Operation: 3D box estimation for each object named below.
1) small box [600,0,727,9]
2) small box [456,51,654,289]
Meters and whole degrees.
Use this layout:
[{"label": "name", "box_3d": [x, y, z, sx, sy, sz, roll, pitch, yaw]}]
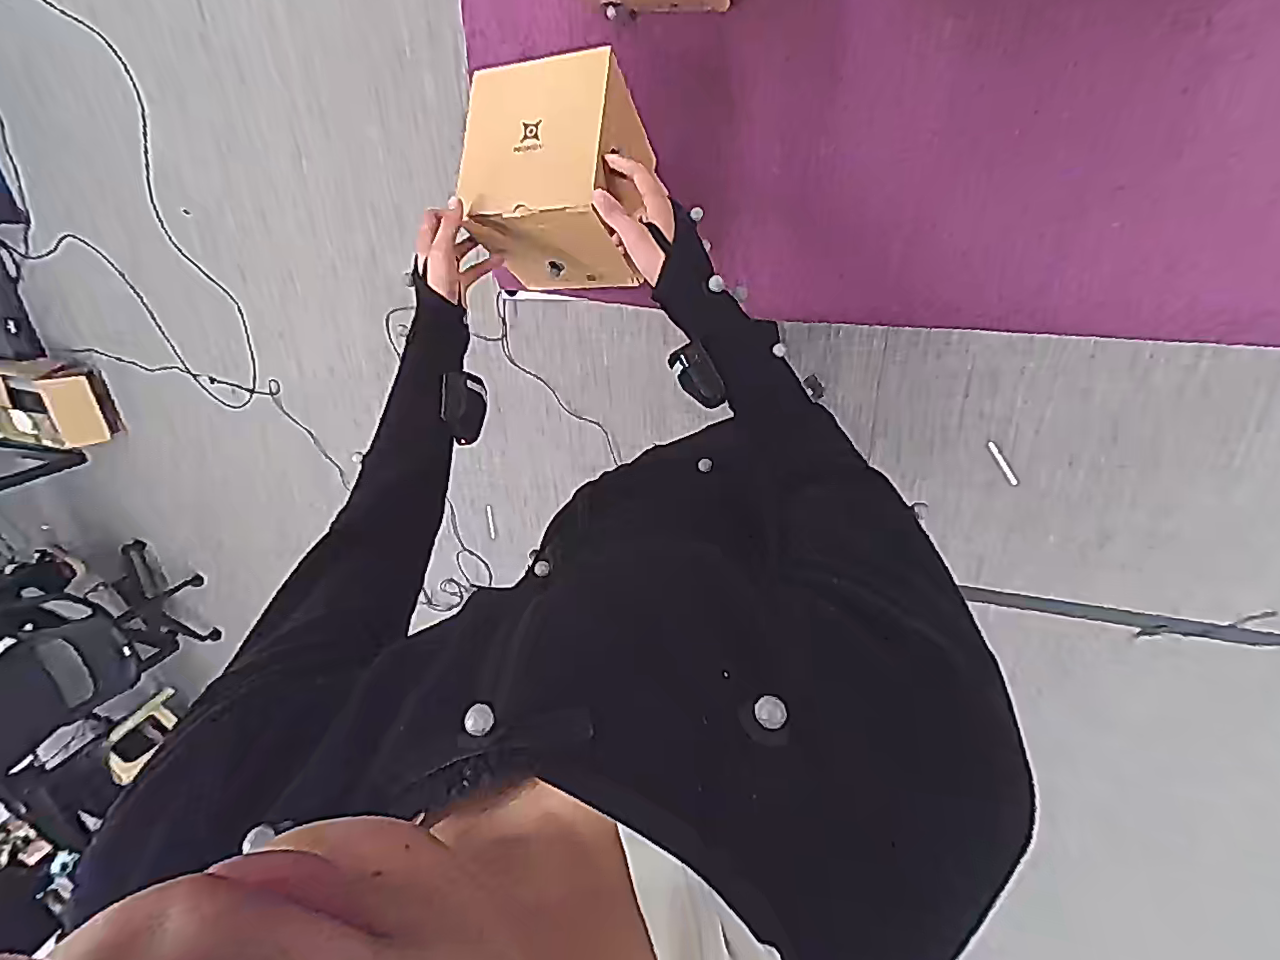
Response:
[{"label": "small box", "box_3d": [0.008, -0.591, 0.525, 0.168, 0.176, 0.179, 12, 118, 13]}, {"label": "small box", "box_3d": [-0.087, -0.346, 0.638, 0.168, 0.176, 0.179, 4, 85, 18]}]
